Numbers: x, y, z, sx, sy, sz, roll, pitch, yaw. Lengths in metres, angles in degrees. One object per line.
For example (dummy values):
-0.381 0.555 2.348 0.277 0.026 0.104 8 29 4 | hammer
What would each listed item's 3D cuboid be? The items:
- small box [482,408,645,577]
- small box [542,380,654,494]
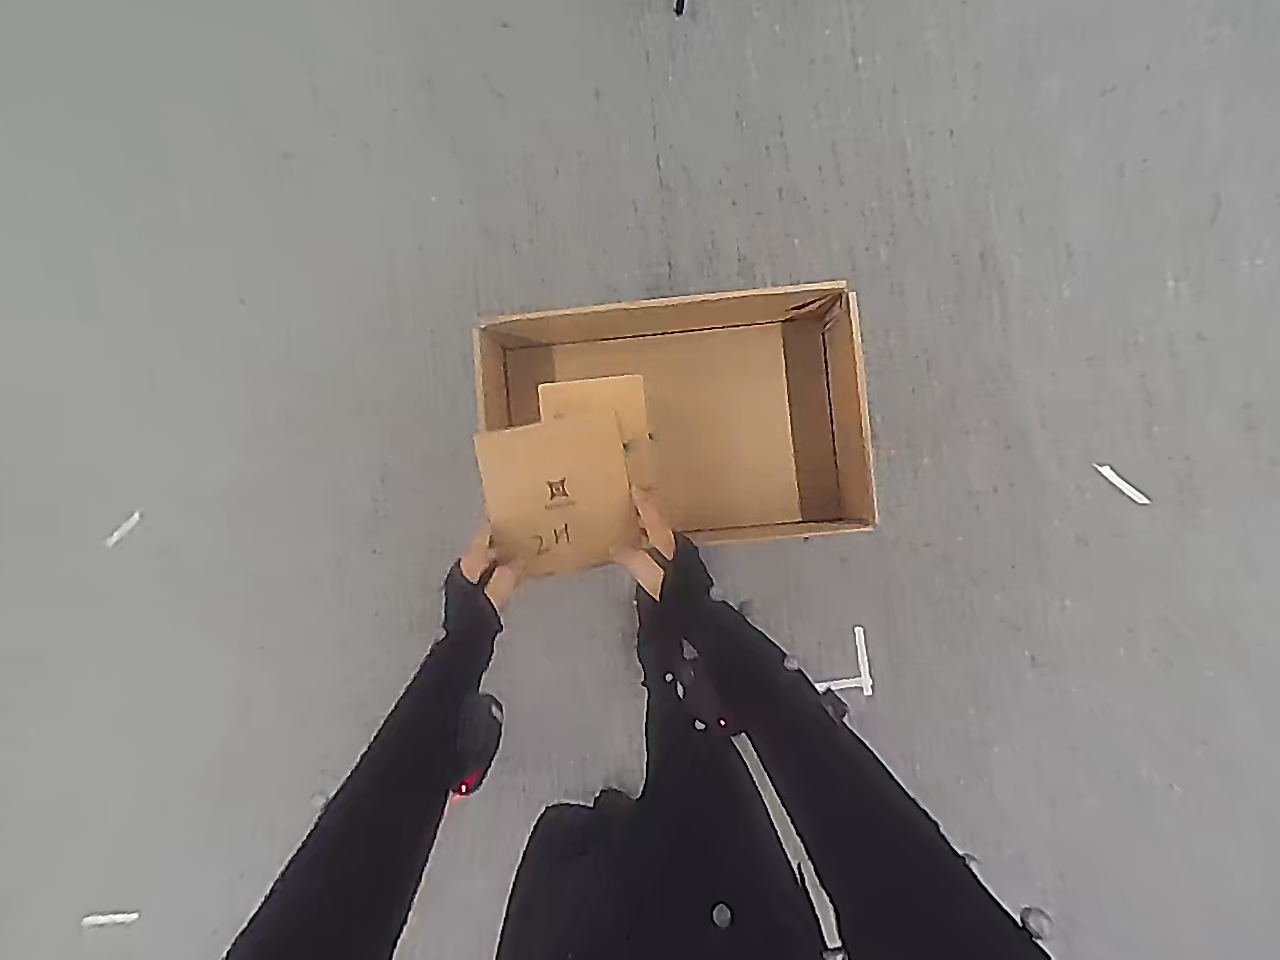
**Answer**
-0.089 0.012 0.701 0.168 0.176 0.179 -10 93 1 | small box
-0.064 -0.060 0.917 0.168 0.176 0.179 -5 88 2 | small box
